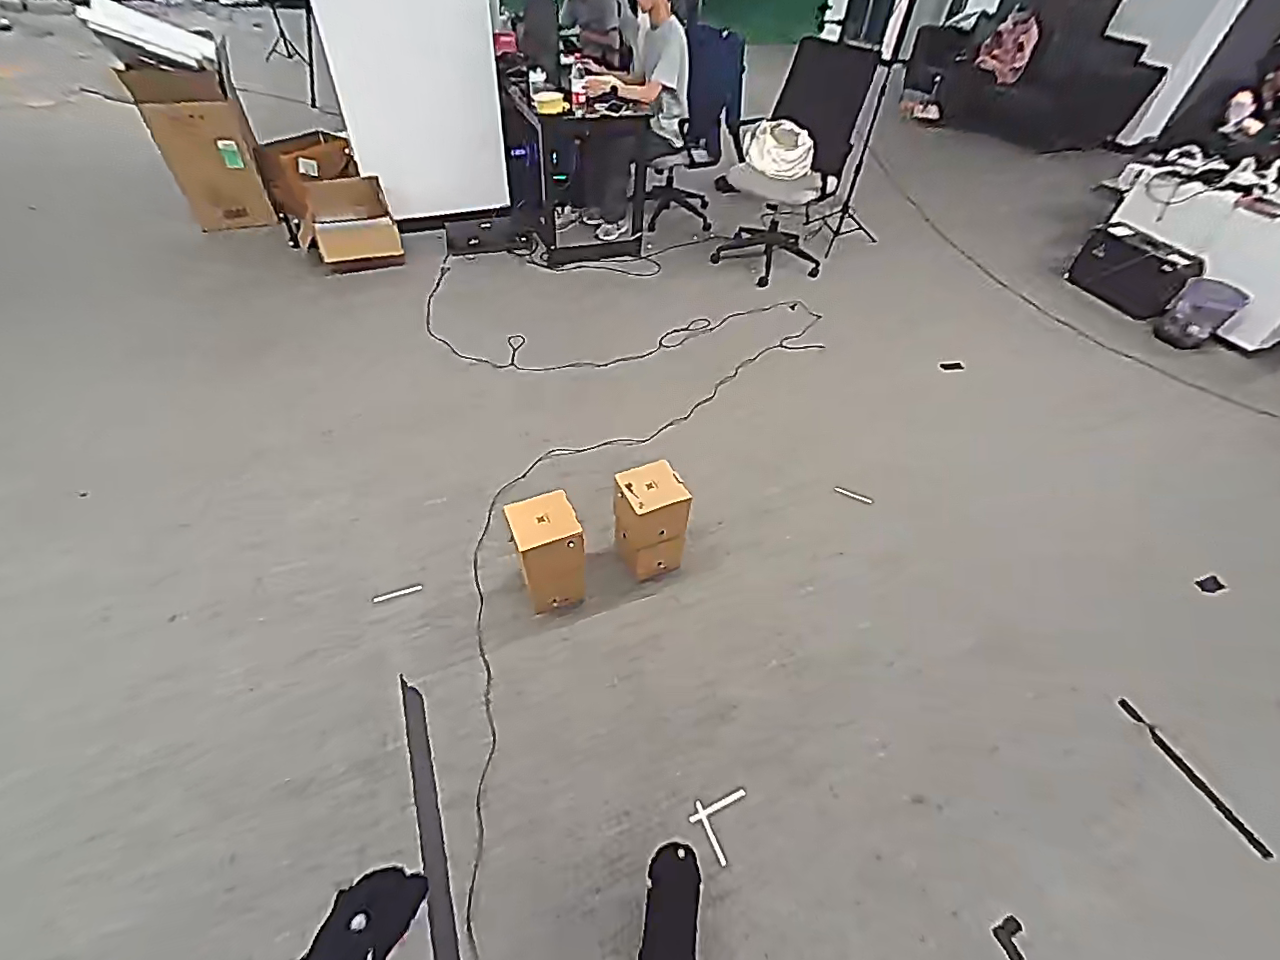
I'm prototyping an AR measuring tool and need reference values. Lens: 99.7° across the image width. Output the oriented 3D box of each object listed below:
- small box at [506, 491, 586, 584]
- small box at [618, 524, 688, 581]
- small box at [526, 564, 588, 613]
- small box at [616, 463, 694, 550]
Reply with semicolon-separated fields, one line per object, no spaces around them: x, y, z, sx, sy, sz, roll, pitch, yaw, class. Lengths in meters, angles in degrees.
-0.259;0.165;1.512;0.179;0.176;0.168;-17;51;-18;small box
0.034;0.190;1.731;0.168;0.176;0.179;-17;51;-18;small box
-0.261;0.272;1.634;0.168;0.176;0.179;-14;51;-16;small box
0.037;0.079;1.609;0.179;0.176;0.168;-16;50;-19;small box
